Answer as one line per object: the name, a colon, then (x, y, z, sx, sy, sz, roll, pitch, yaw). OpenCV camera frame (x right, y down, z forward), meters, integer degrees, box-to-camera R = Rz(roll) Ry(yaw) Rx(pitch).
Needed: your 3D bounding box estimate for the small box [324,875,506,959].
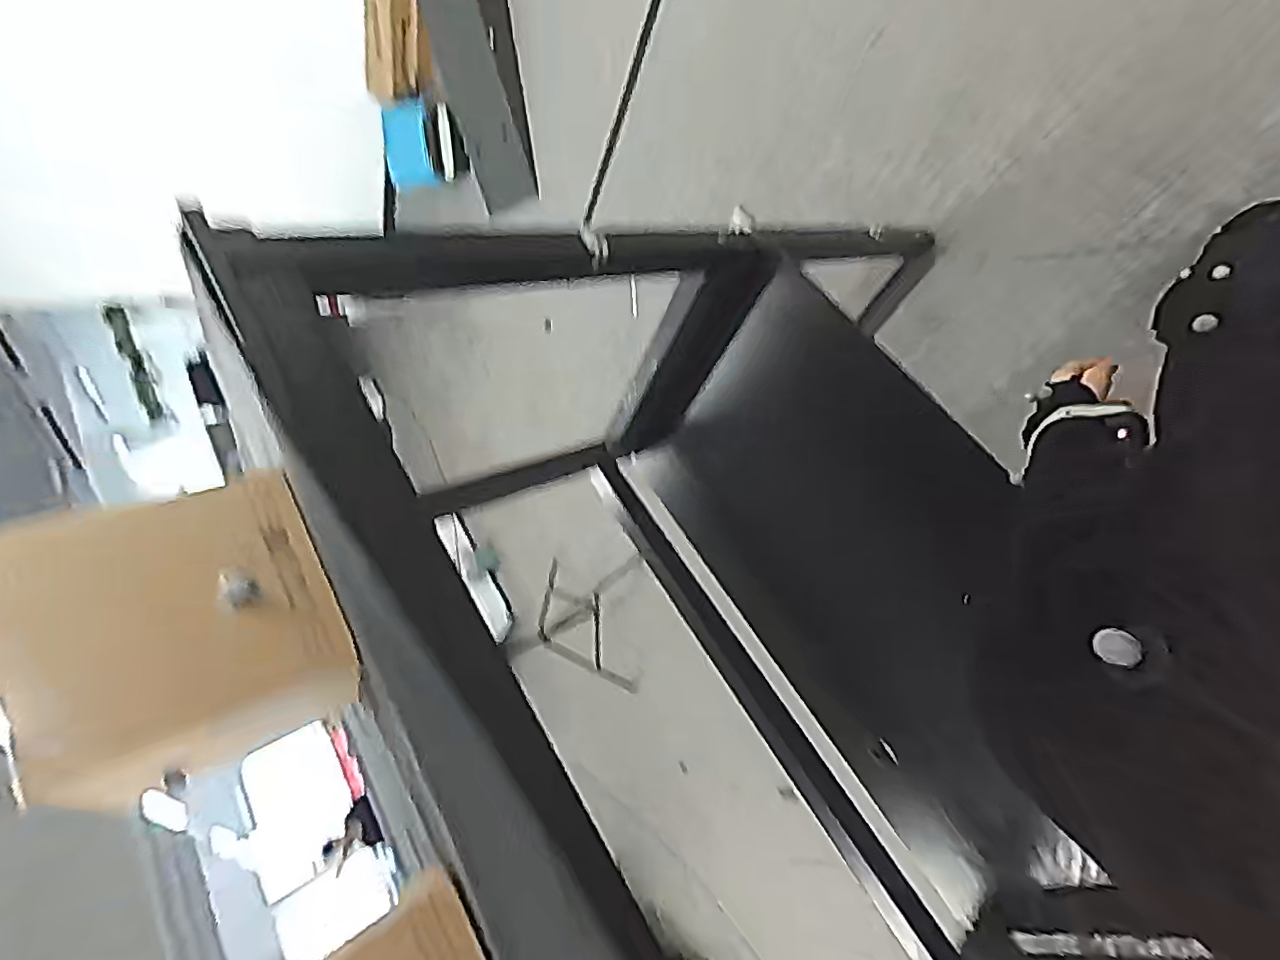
small box: (-0.153, 0.368, 0.315, 0.168, 0.176, 0.179, 55, 142, 20)

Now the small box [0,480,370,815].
small box: (-0.324, 0.125, 0.417, 0.168, 0.176, 0.179, 58, 142, 15)
